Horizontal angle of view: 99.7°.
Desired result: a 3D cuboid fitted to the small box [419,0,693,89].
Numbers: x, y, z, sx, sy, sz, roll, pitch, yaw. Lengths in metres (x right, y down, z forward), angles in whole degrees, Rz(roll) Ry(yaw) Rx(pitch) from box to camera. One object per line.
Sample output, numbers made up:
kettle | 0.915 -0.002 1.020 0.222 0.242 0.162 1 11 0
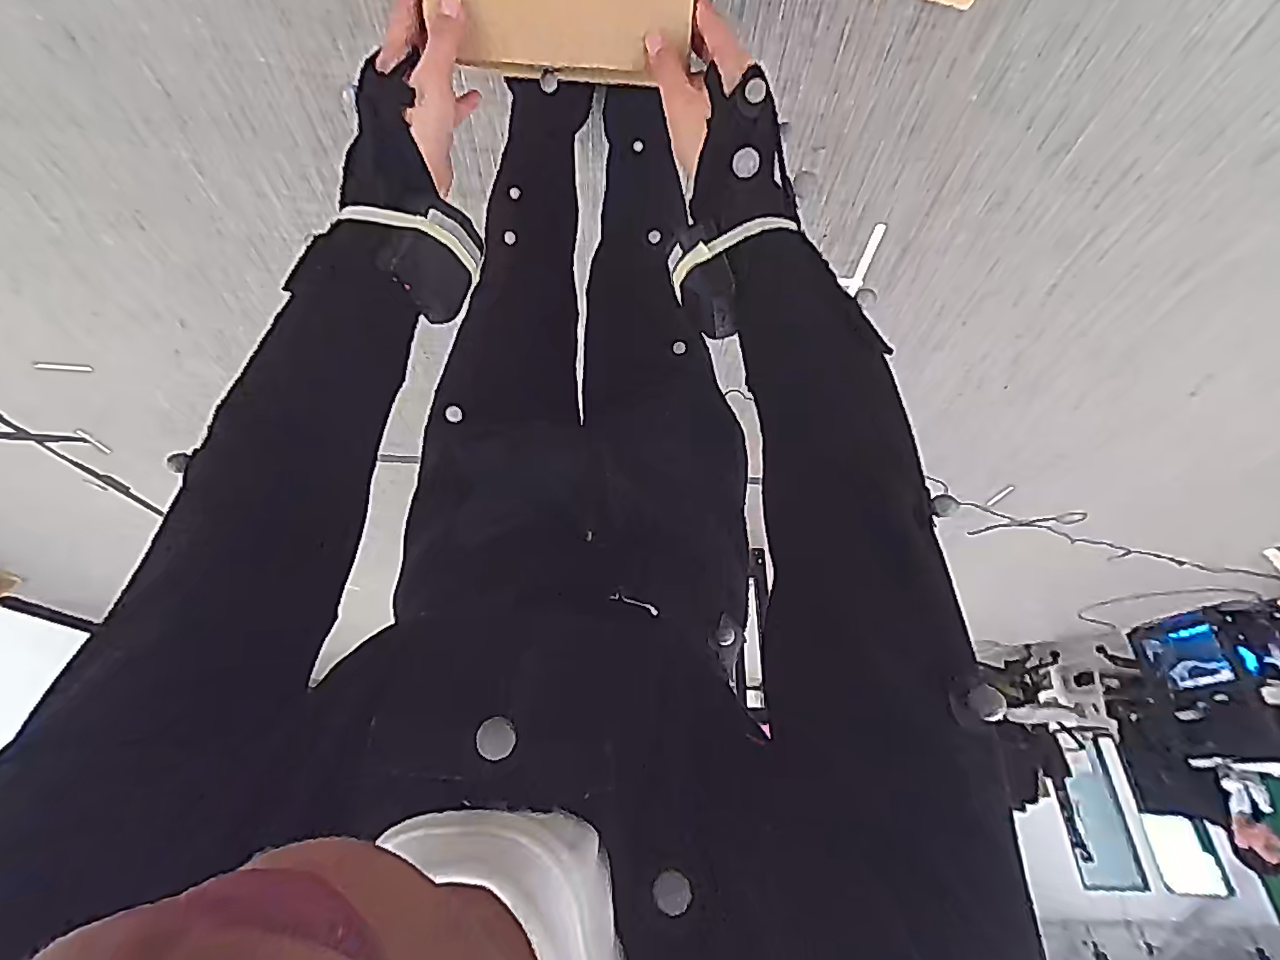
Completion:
small box | -0.055 -0.389 0.386 0.179 0.176 0.168 0 123 -6
